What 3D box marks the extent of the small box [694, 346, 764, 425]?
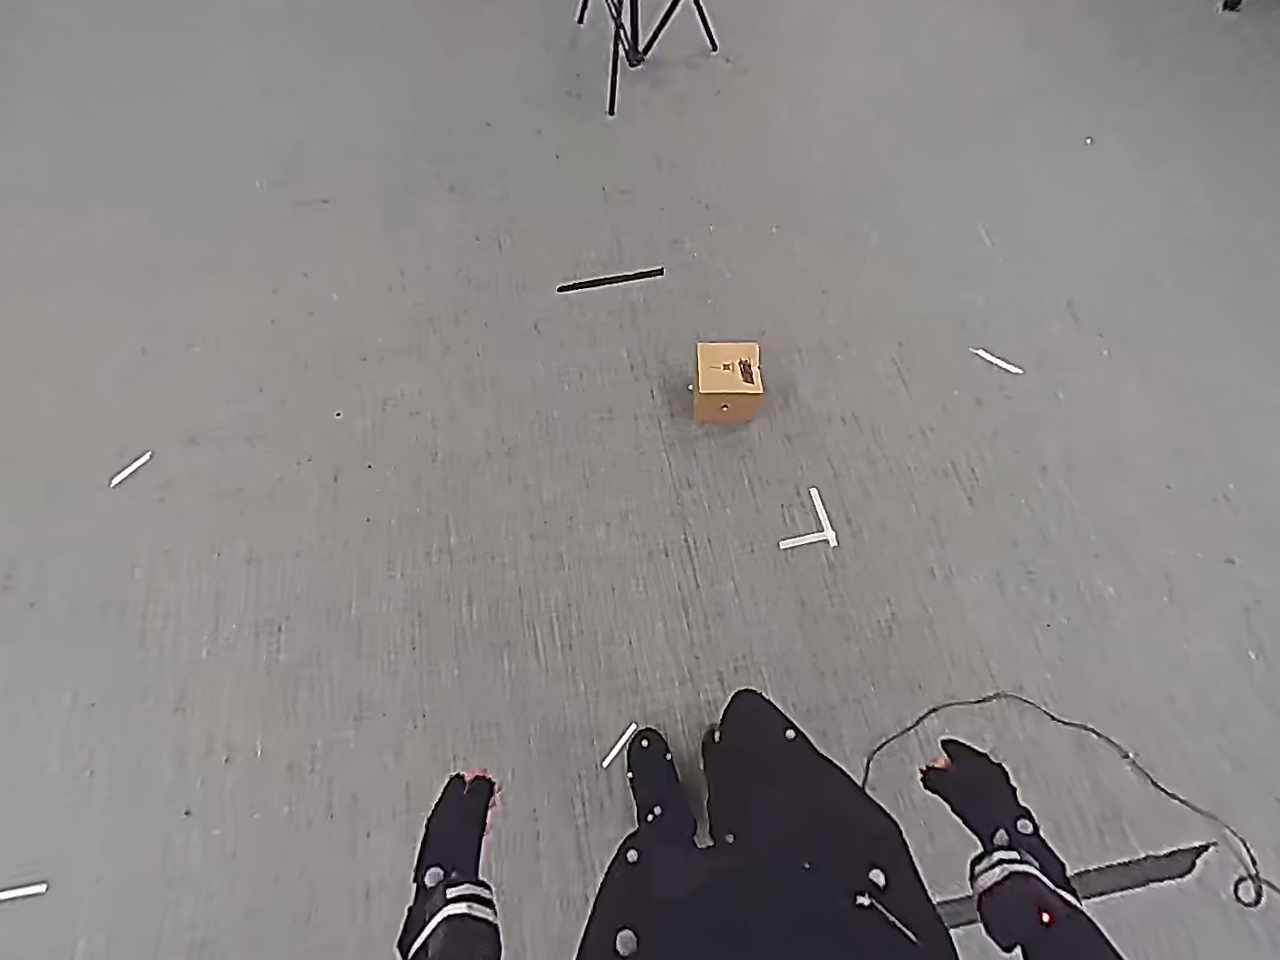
[{"bbox_3d":[0.252,-0.269,1.566,0.179,0.176,0.168,0,68,1],"label":"small box"}]
